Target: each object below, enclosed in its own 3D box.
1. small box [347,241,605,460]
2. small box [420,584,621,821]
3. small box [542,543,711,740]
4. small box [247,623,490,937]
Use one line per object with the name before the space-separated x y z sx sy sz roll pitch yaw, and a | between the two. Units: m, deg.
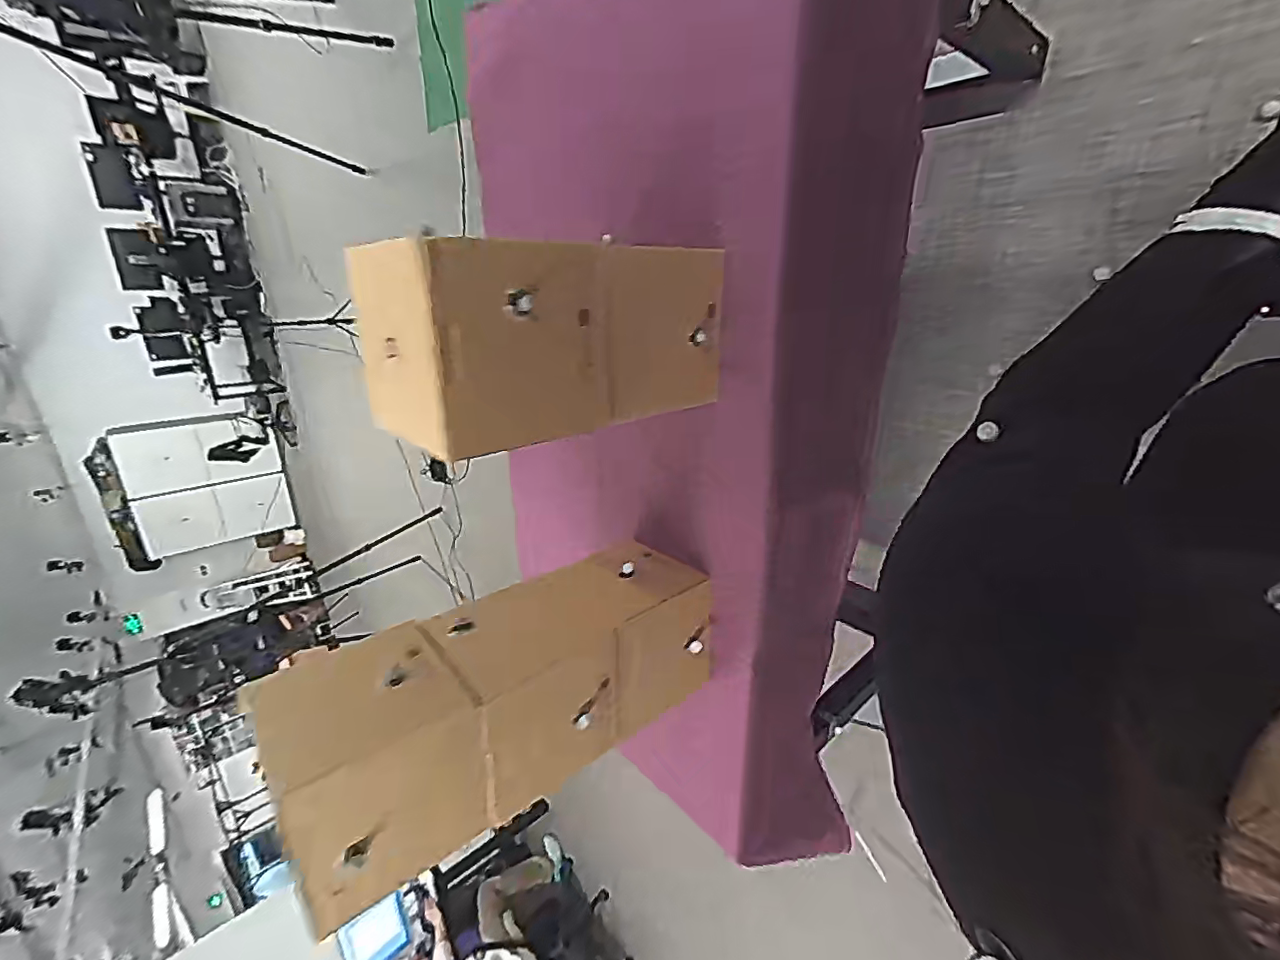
small box | -0.144 -0.132 0.507 0.179 0.176 0.168 20 119 44
small box | -0.141 0.244 0.649 0.179 0.176 0.168 20 120 44
small box | -0.015 0.206 0.749 0.168 0.176 0.179 19 117 45
small box | -0.263 0.280 0.544 0.168 0.176 0.179 23 120 43
